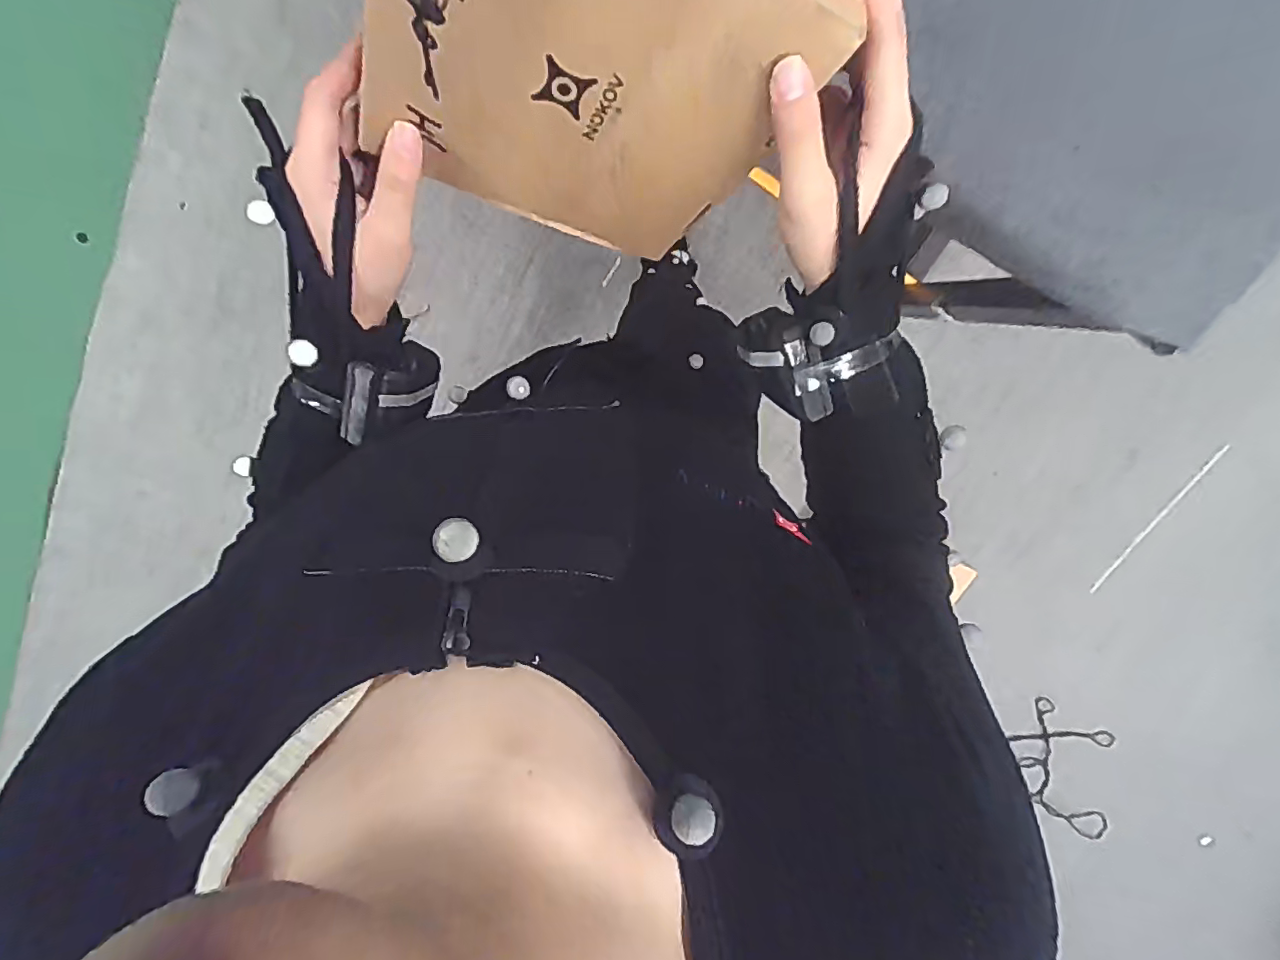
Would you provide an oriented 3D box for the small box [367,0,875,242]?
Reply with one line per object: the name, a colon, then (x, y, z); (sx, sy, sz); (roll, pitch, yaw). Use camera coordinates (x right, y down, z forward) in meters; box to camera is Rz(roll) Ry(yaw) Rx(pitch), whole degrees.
small box: (-0.018, -0.257, 0.257); (0.179, 0.168, 0.176); (9, 74, -28)
